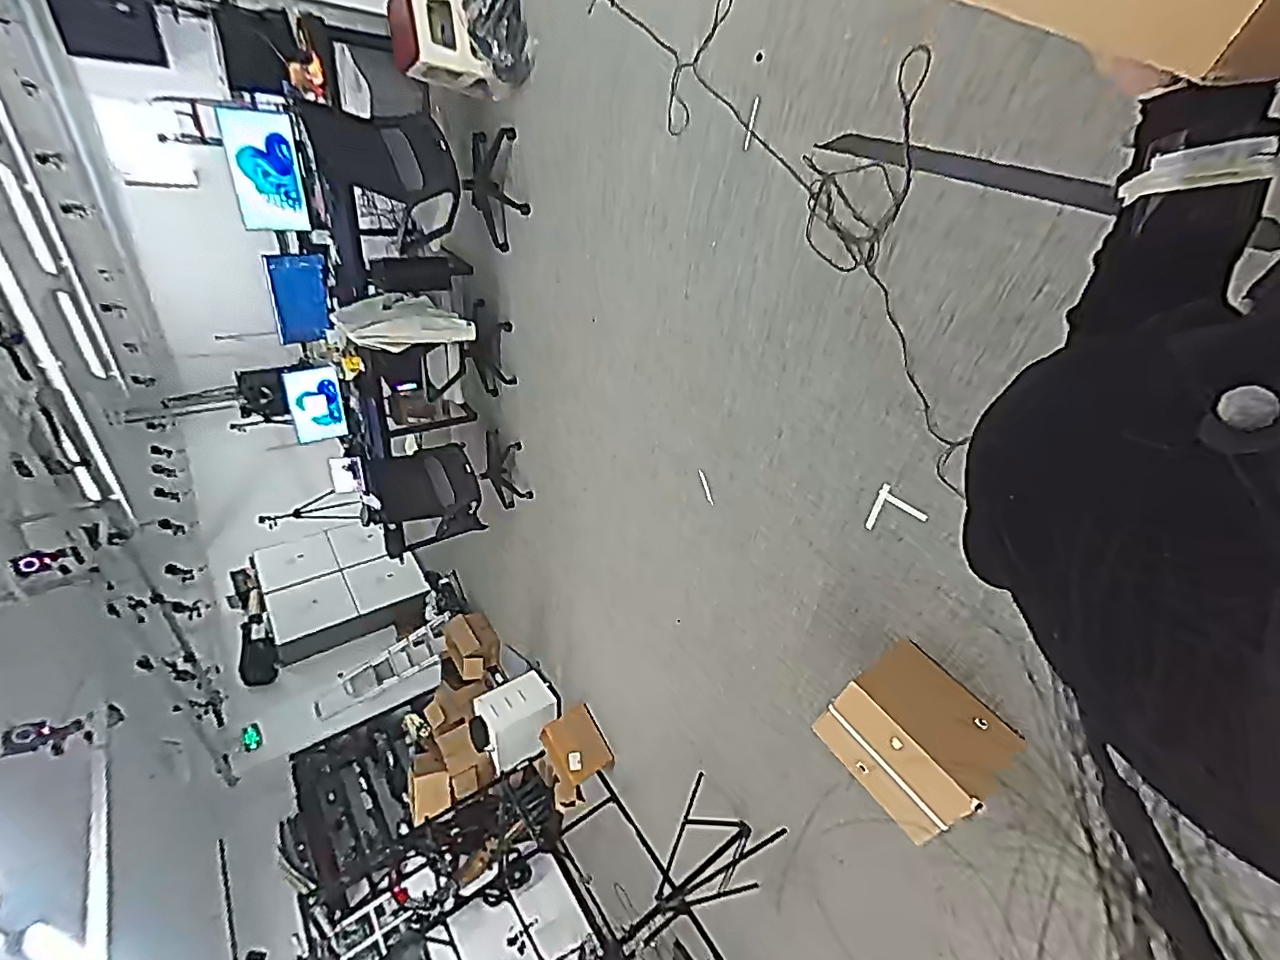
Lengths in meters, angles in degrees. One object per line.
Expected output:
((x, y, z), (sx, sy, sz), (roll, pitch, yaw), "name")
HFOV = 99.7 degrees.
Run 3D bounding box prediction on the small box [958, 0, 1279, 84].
((0.284, -0.309, 0.245), (0.179, 0.176, 0.168), (57, 154, 31), "small box")
